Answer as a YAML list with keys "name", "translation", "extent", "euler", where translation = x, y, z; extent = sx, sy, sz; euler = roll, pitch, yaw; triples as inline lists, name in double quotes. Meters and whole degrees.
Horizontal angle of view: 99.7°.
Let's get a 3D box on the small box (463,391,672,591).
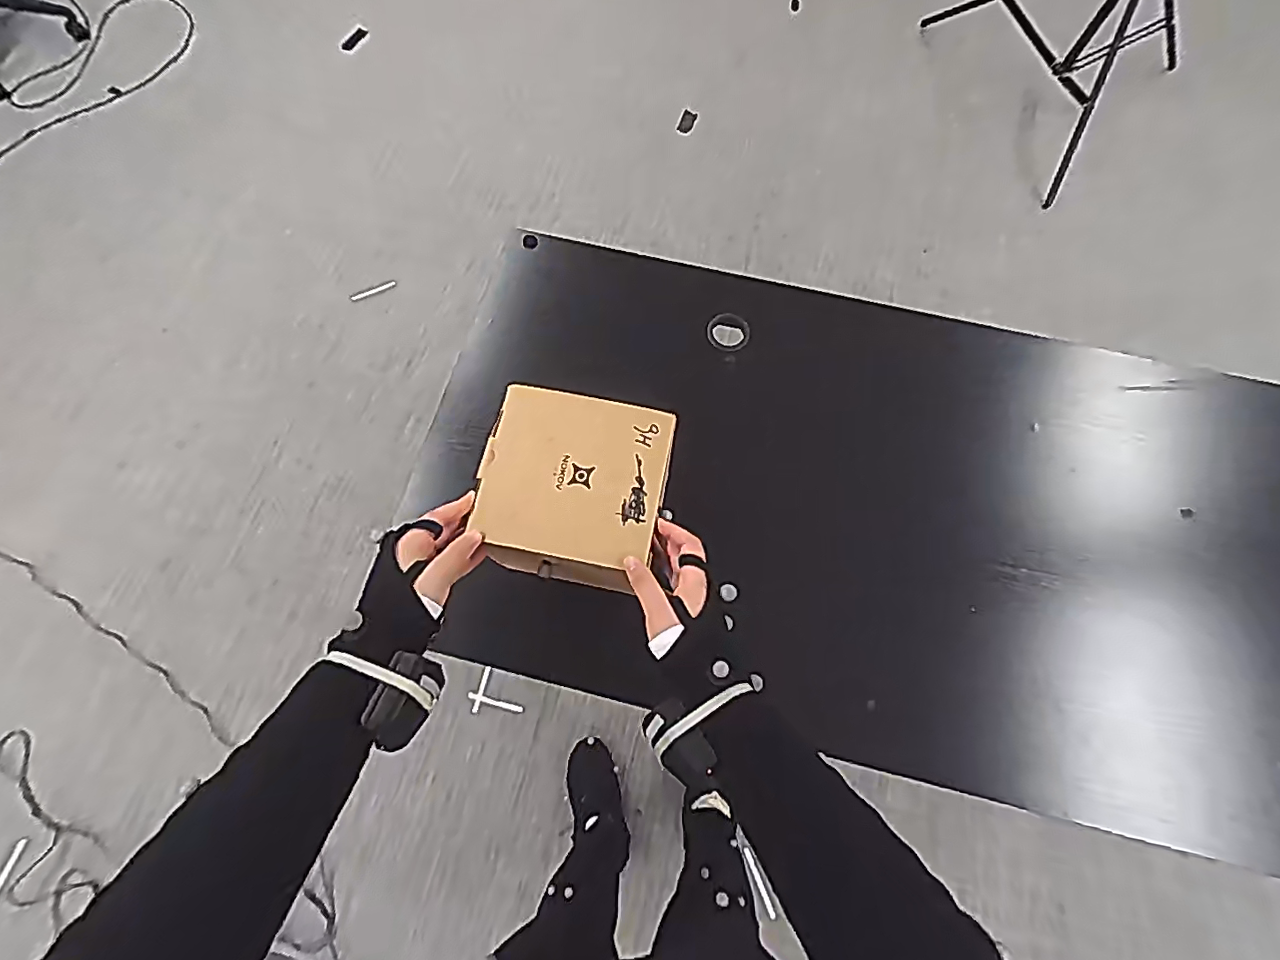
- name: "small box"
  translation: [-0.066, 0.022, 0.601]
  extent: [0.179, 0.176, 0.168]
  euler: [10, 73, 4]
